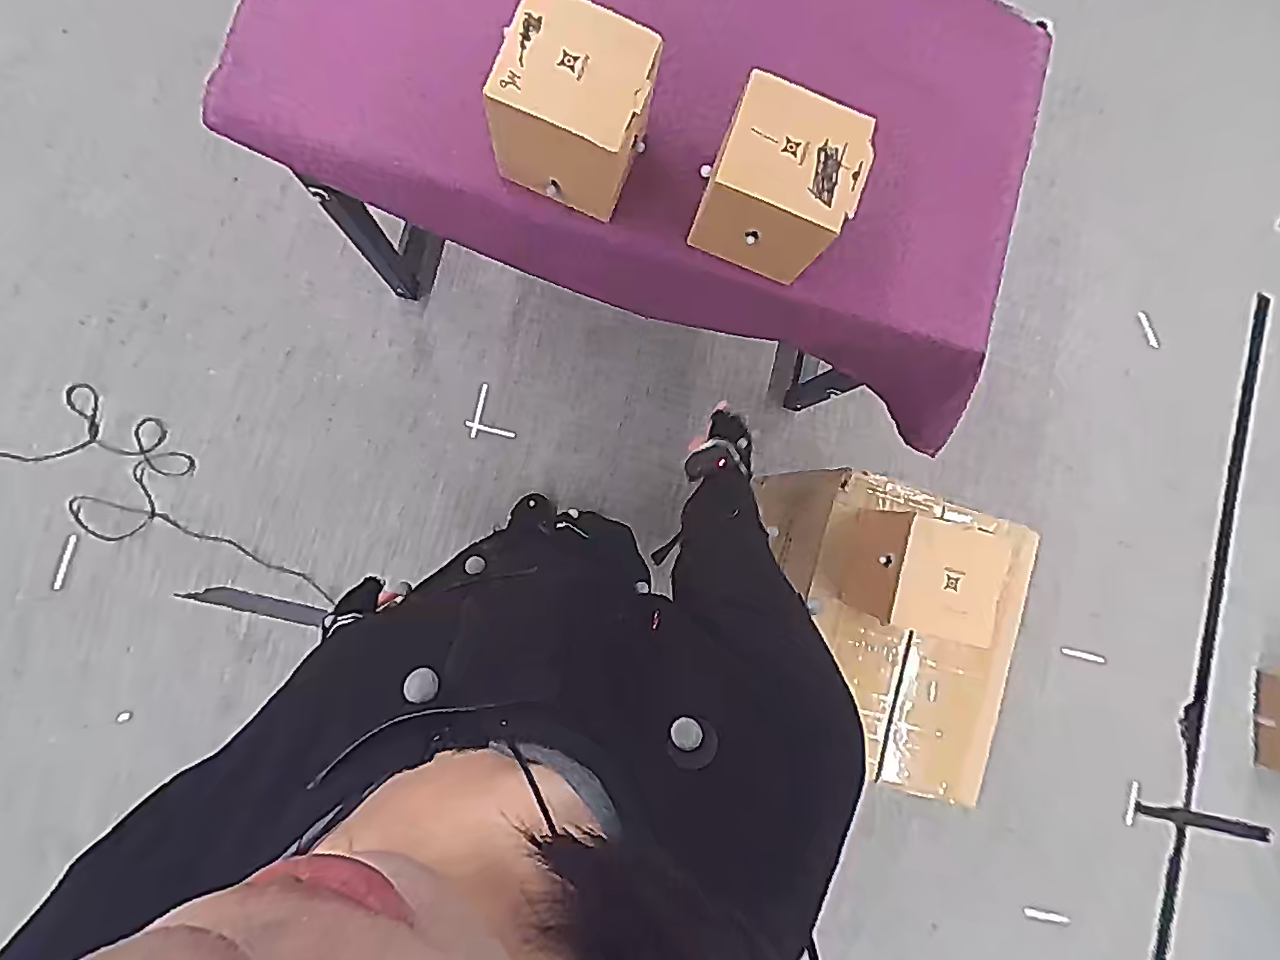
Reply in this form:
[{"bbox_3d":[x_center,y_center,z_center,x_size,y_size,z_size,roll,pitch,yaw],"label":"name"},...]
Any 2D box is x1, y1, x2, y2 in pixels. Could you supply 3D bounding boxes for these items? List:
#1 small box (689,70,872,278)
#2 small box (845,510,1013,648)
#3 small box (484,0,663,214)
[{"bbox_3d":[0.188,-0.415,0.770,0.179,0.176,0.168,20,84,-5],"label":"small box"},{"bbox_3d":[0.460,0.151,0.885,0.168,0.176,0.179,14,87,-4],"label":"small box"},{"bbox_3d":[-0.090,-0.498,0.737,0.179,0.176,0.168,21,84,-7],"label":"small box"}]
